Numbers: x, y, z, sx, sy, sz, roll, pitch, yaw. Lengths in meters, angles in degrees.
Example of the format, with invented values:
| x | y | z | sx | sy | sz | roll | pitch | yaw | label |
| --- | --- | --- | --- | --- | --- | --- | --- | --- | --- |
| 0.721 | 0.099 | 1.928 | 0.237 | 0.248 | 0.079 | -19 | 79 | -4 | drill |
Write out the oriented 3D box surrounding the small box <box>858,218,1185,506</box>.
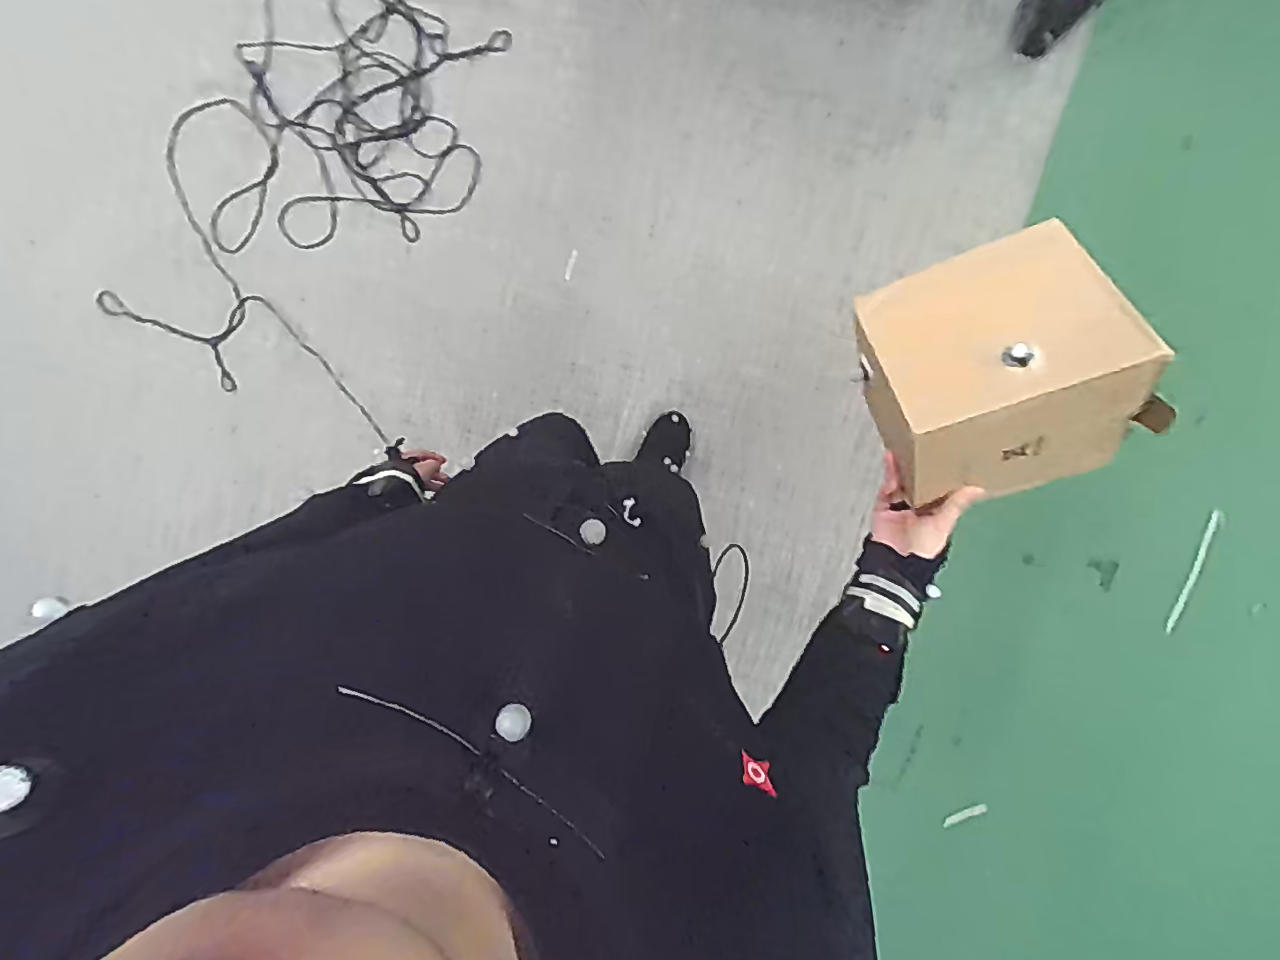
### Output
| x | y | z | sx | sy | sz | roll | pitch | yaw | label |
| --- | --- | --- | --- | --- | --- | --- | --- | --- | --- |
| 0.326 | -0.104 | 0.506 | 0.179 | 0.168 | 0.176 | -19 | 55 | 18 | small box |
